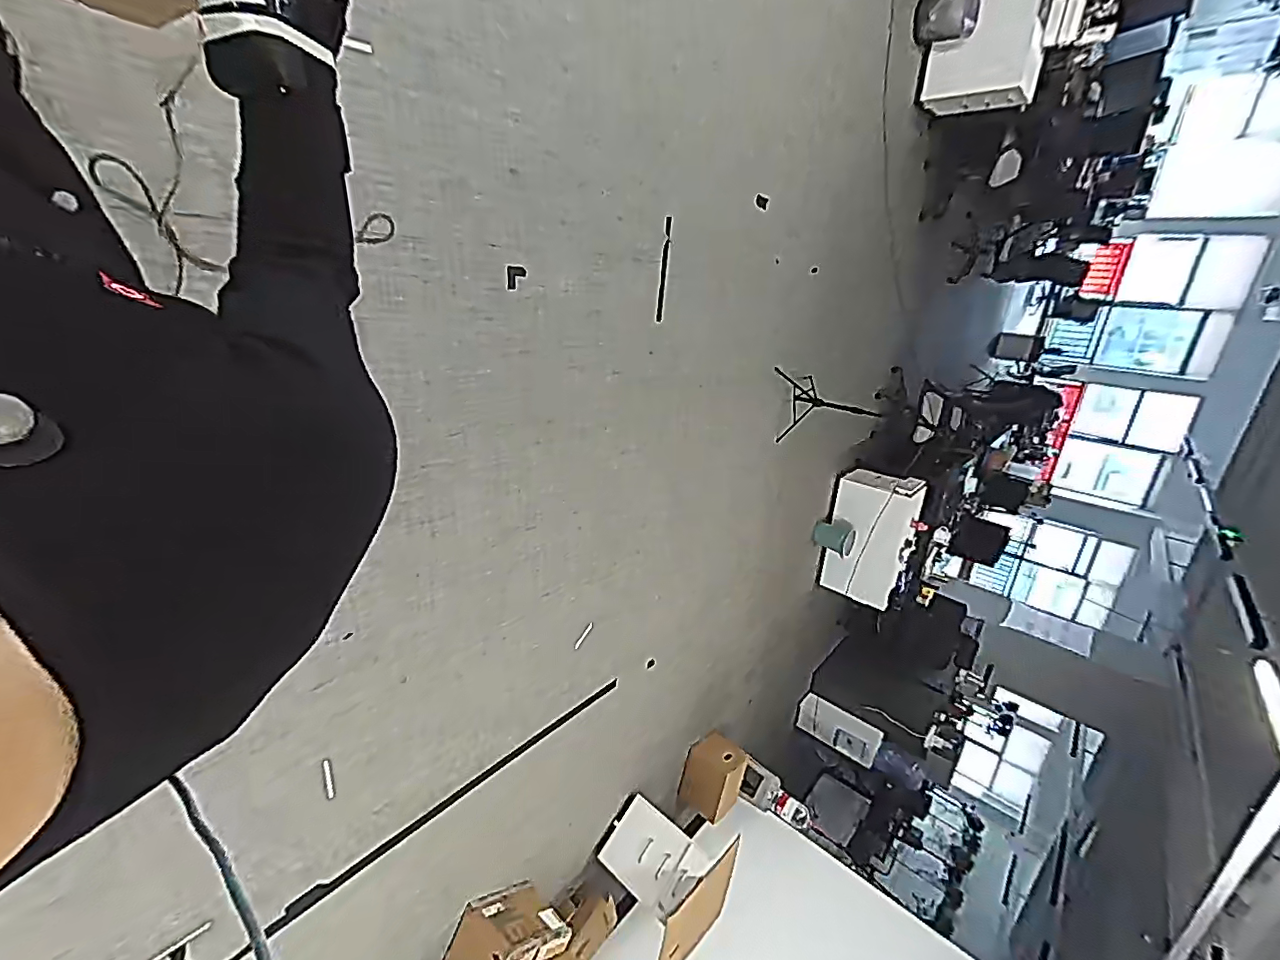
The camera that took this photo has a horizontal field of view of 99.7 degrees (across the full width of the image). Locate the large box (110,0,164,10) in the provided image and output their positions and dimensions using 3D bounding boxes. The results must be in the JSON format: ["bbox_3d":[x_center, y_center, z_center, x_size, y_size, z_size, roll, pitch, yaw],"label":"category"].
[{"bbox_3d":[-0.480,-0.514,0.253,0.408,0.320,0.320,-13,123,-48],"label":"large box"}]
